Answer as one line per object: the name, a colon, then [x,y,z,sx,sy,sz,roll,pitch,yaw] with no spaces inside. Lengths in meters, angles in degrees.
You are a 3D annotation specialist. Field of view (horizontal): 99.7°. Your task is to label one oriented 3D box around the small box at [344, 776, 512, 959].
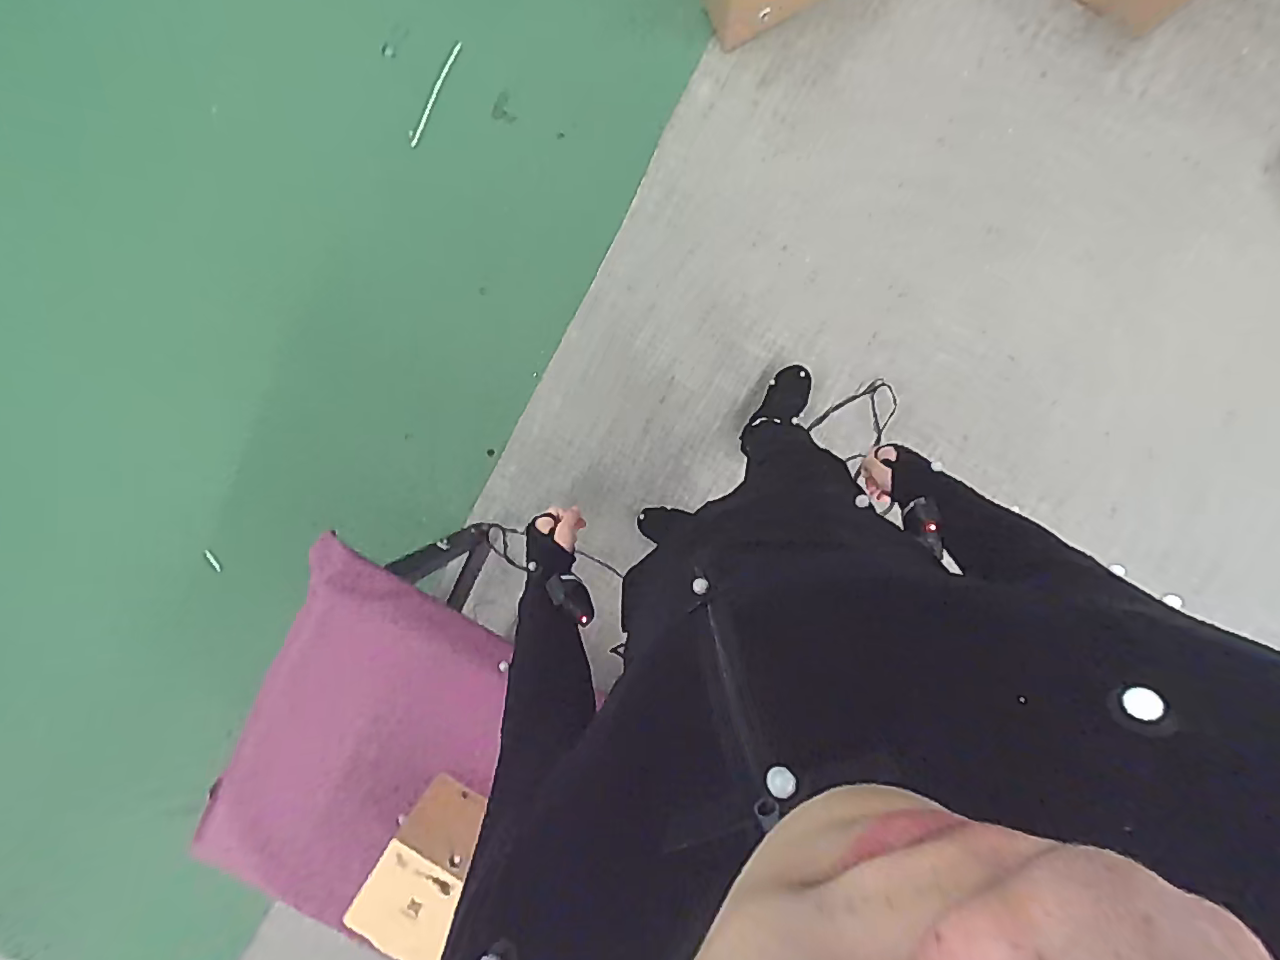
small box: [-0.338,0.647,0.898,0.168,0.176,0.179,32,97,0]
